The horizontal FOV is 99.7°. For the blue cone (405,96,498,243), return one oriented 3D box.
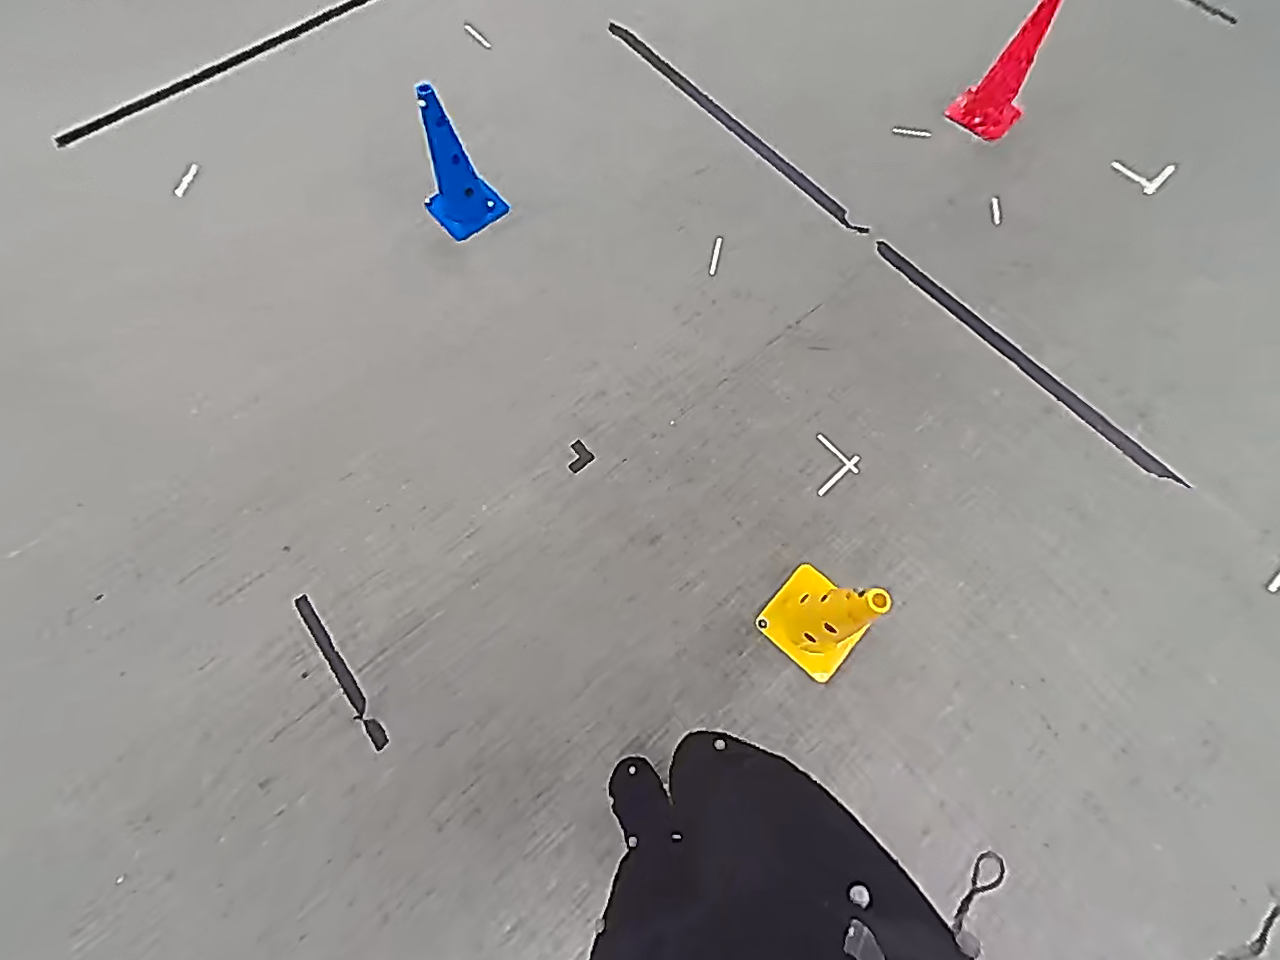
[{"bbox_3d":[-0.553,-0.879,1.505,0.192,0.380,0.193,-38,74,-12],"label":"blue cone"}]

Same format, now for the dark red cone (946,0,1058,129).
[{"bbox_3d":[1.146,-1.317,1.648,0.202,0.394,0.201,40,75,13],"label":"dark red cone"}]
